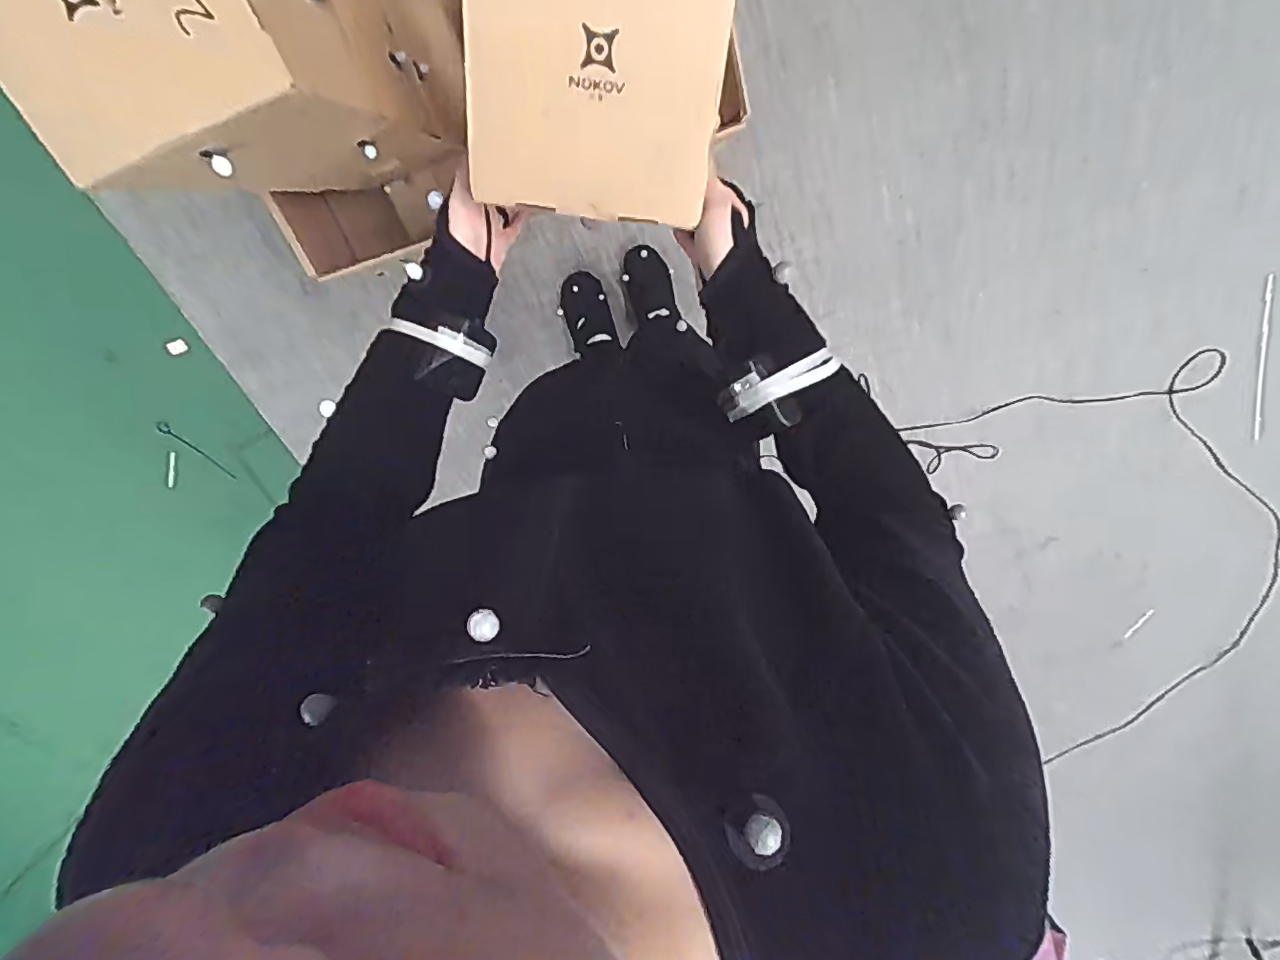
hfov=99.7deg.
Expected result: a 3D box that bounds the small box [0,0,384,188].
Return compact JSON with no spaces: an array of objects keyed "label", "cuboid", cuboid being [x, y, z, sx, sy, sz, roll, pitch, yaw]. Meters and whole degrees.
[{"label":"small box","cuboid":[-0.329,-0.329,0.395,0.179,0.176,0.168,-18,117,6]}]

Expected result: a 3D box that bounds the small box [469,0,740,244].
[{"label":"small box","cuboid":[-0.031,-0.300,0.417,0.168,0.176,0.179,5,121,-7]}]

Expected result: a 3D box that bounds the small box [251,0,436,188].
[{"label":"small box","cuboid":[-0.338,-0.407,0.540,0.179,0.176,0.168,-18,117,6]}]
